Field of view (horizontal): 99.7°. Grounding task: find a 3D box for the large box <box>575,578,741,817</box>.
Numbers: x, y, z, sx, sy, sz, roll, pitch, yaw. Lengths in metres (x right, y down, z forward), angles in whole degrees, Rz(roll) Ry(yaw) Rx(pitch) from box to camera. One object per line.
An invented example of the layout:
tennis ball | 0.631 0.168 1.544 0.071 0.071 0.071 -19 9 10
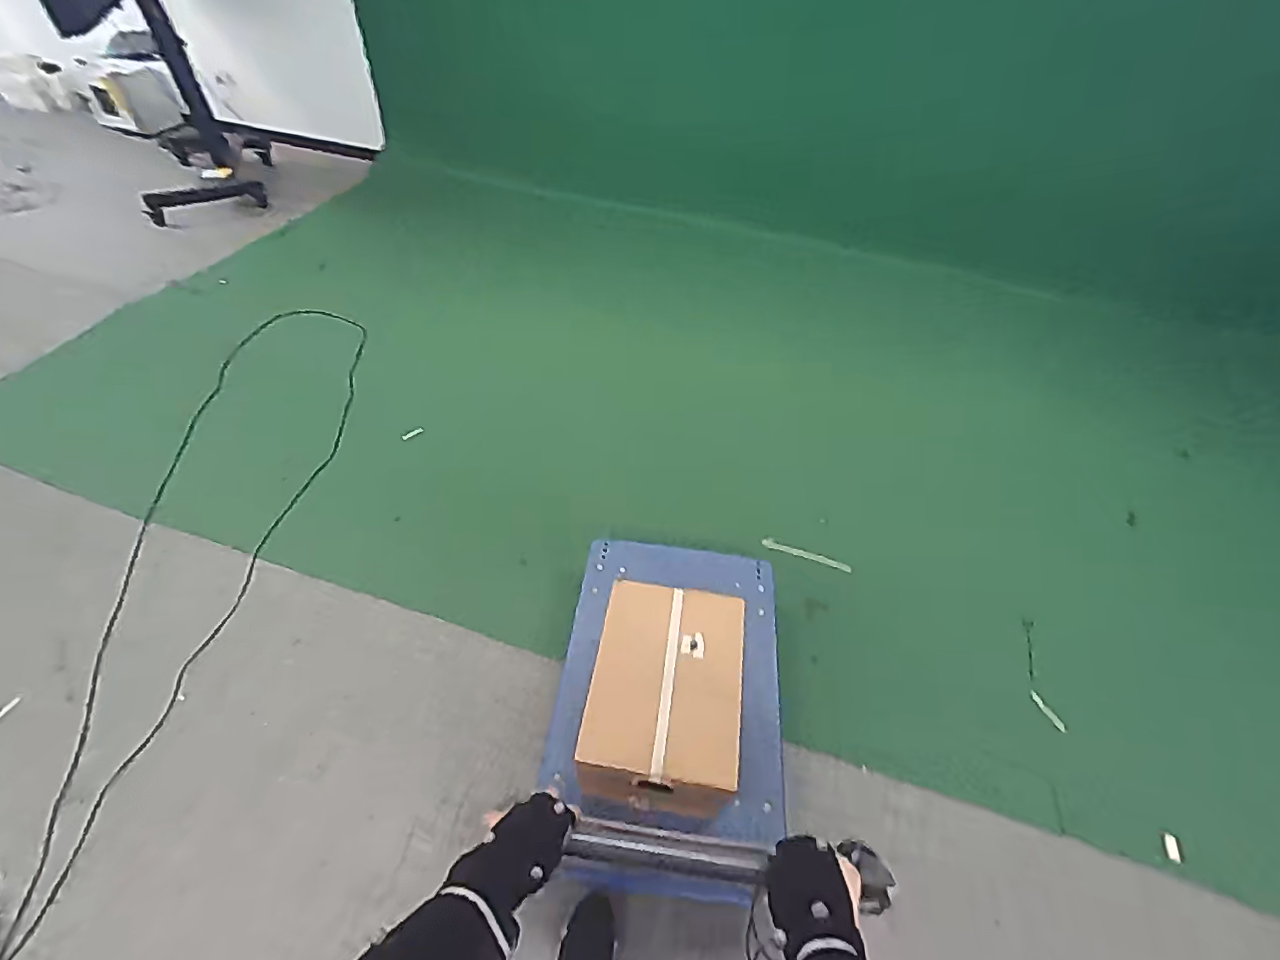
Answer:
large box | 0.049 0.497 1.244 0.320 0.320 0.408 9 48 4
